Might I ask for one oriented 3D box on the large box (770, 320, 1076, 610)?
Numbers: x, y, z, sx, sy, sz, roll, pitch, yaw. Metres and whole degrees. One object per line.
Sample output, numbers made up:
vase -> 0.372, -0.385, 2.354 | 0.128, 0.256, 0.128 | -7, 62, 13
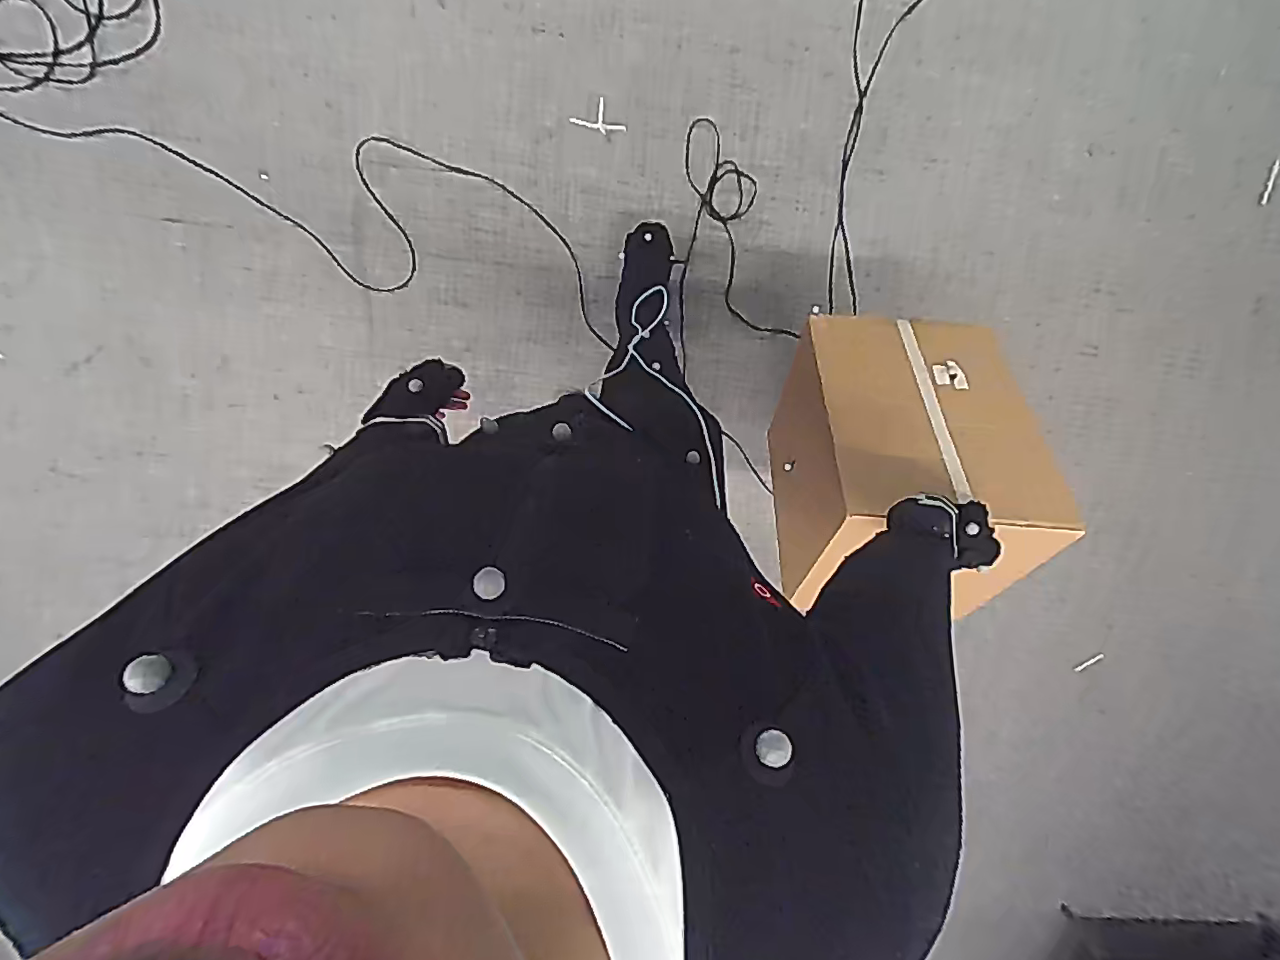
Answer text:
large box -> 0.426, -0.021, 0.943 | 0.320, 0.408, 0.320 | 5, 144, -1
